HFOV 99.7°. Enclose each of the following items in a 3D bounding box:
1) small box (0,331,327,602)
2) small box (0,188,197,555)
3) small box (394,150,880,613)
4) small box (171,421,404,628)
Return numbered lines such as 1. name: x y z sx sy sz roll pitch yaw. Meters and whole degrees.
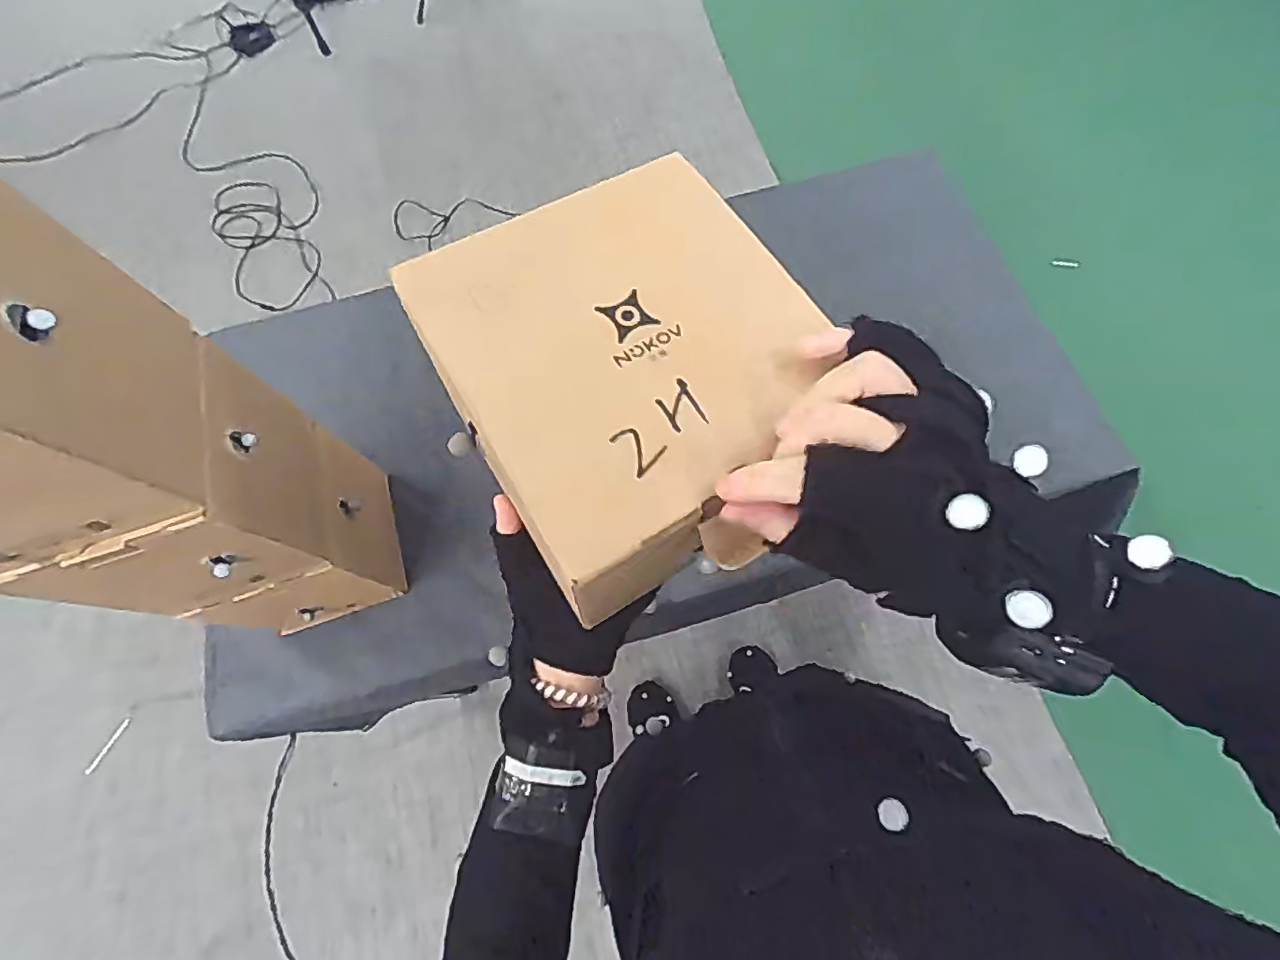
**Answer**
1. small box: -0.414 0.003 0.491 0.168 0.176 0.179 -18 70 -4
2. small box: -0.424 -0.061 0.340 0.168 0.176 0.179 -19 70 -5
3. small box: -0.009 -0.043 0.321 0.168 0.176 0.179 -29 73 -13
4. small box: -0.406 0.061 0.643 0.168 0.176 0.179 -18 70 -4
